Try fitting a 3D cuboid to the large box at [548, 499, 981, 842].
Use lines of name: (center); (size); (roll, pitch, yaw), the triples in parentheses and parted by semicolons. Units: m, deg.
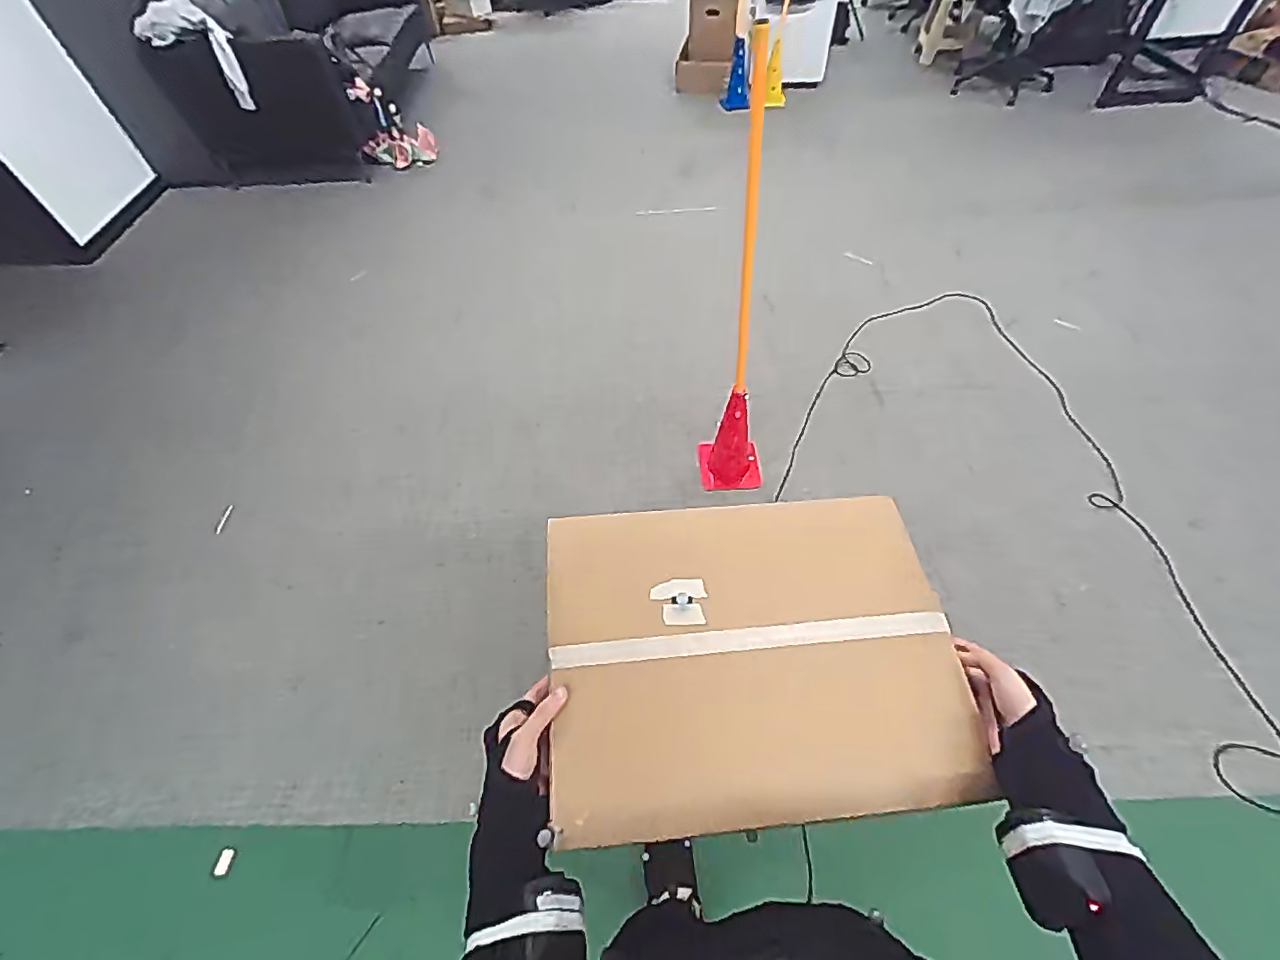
large box: (0.105, 0.242, 0.686); (0.408, 0.320, 0.320); (-4, 59, -4)
